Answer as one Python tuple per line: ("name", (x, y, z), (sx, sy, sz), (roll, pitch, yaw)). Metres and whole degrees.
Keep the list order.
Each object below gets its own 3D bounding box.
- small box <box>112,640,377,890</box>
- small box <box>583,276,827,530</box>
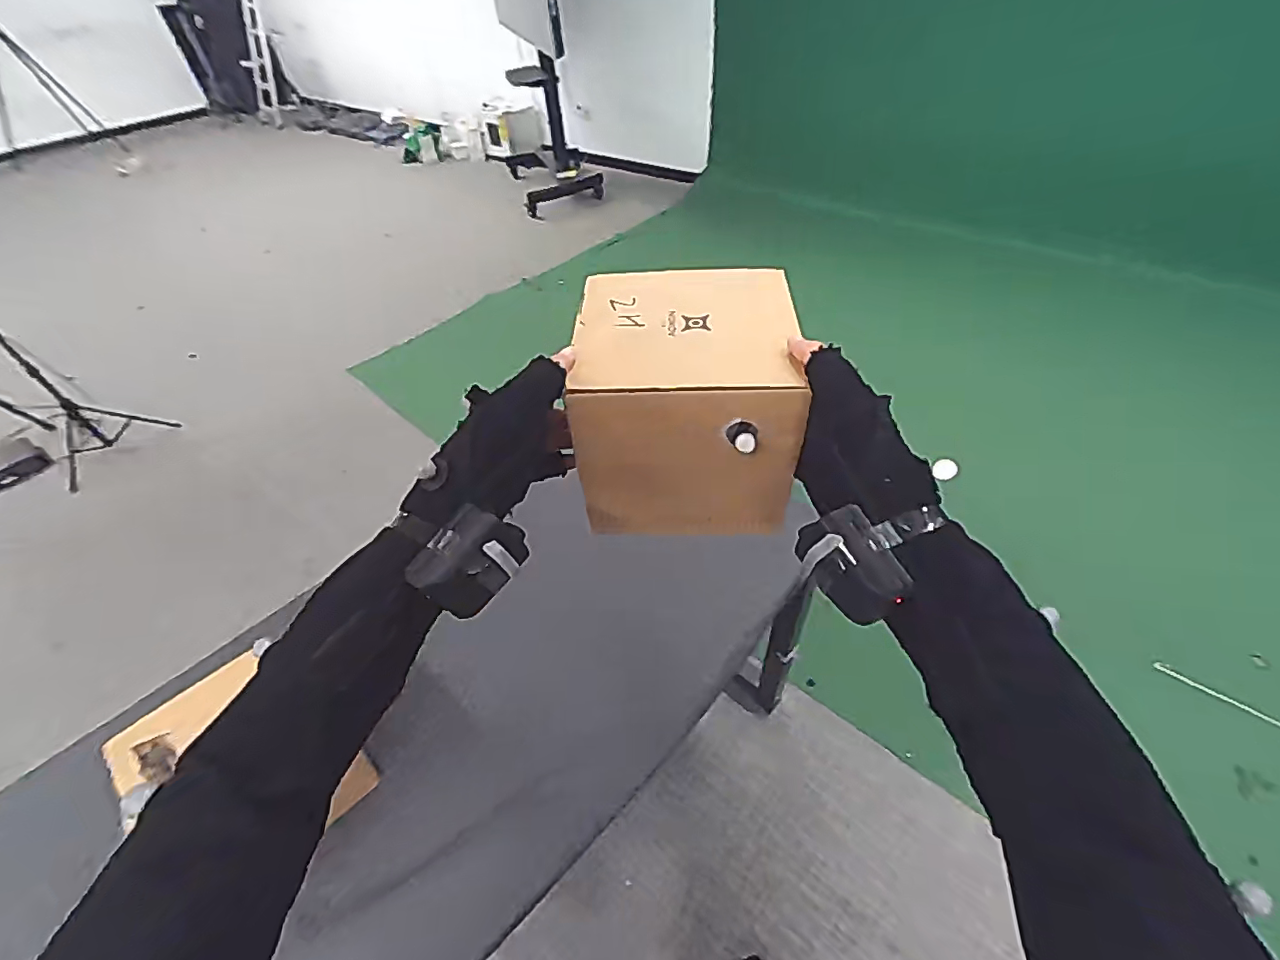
("small box", (-0.454, 0.337, 0.641), (0.179, 0.176, 0.168), (-36, 53, -29))
("small box", (0.053, -0.067, 0.495), (0.179, 0.176, 0.168), (0, 47, 4))
